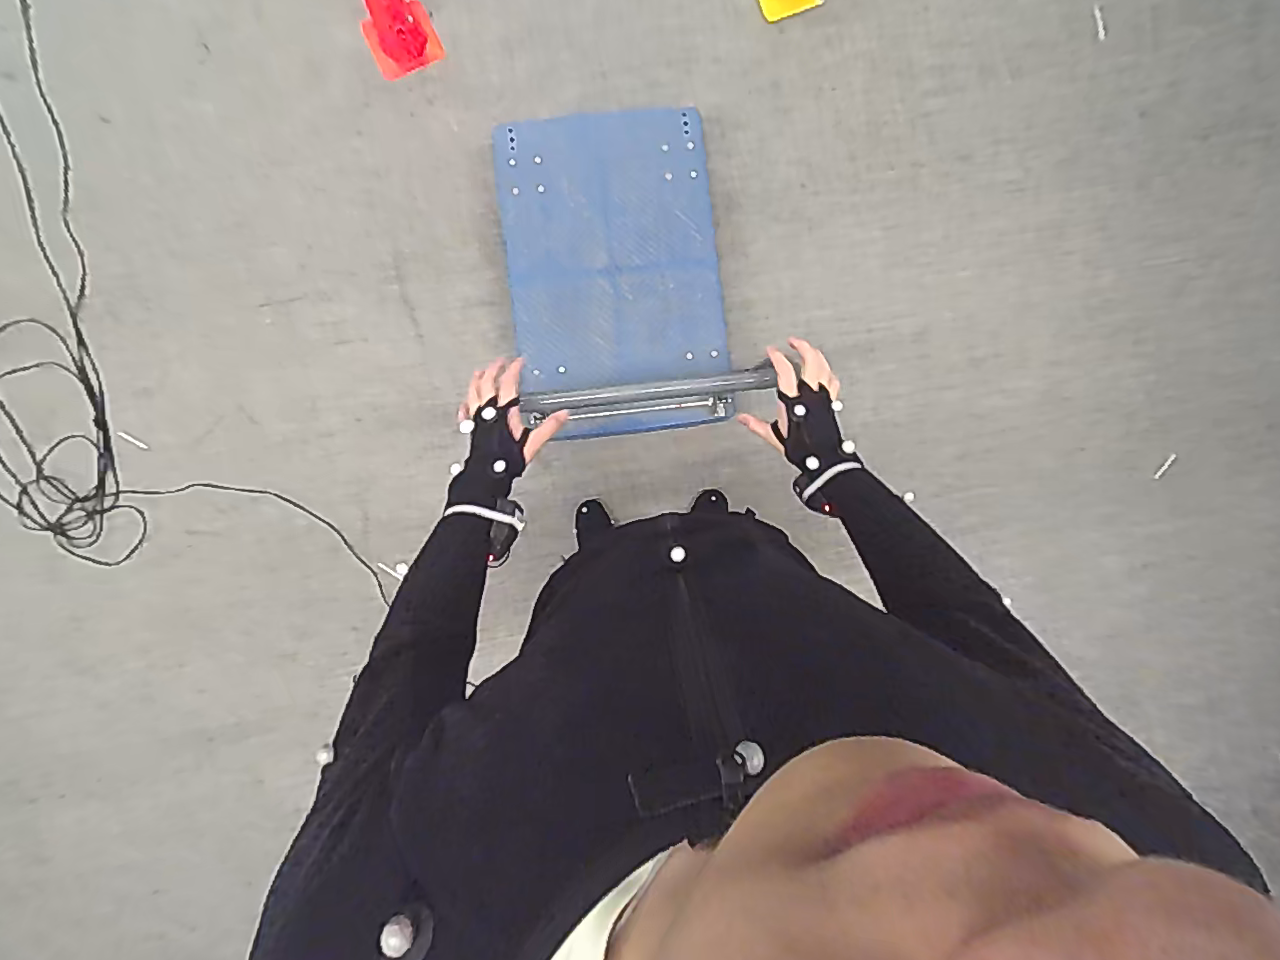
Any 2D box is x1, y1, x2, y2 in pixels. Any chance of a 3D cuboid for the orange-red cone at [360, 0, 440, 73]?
[{"bbox_3d":[-0.717,-1.338,1.450,0.199,0.360,0.198,-25,90,0],"label":"orange-red cone"}]
